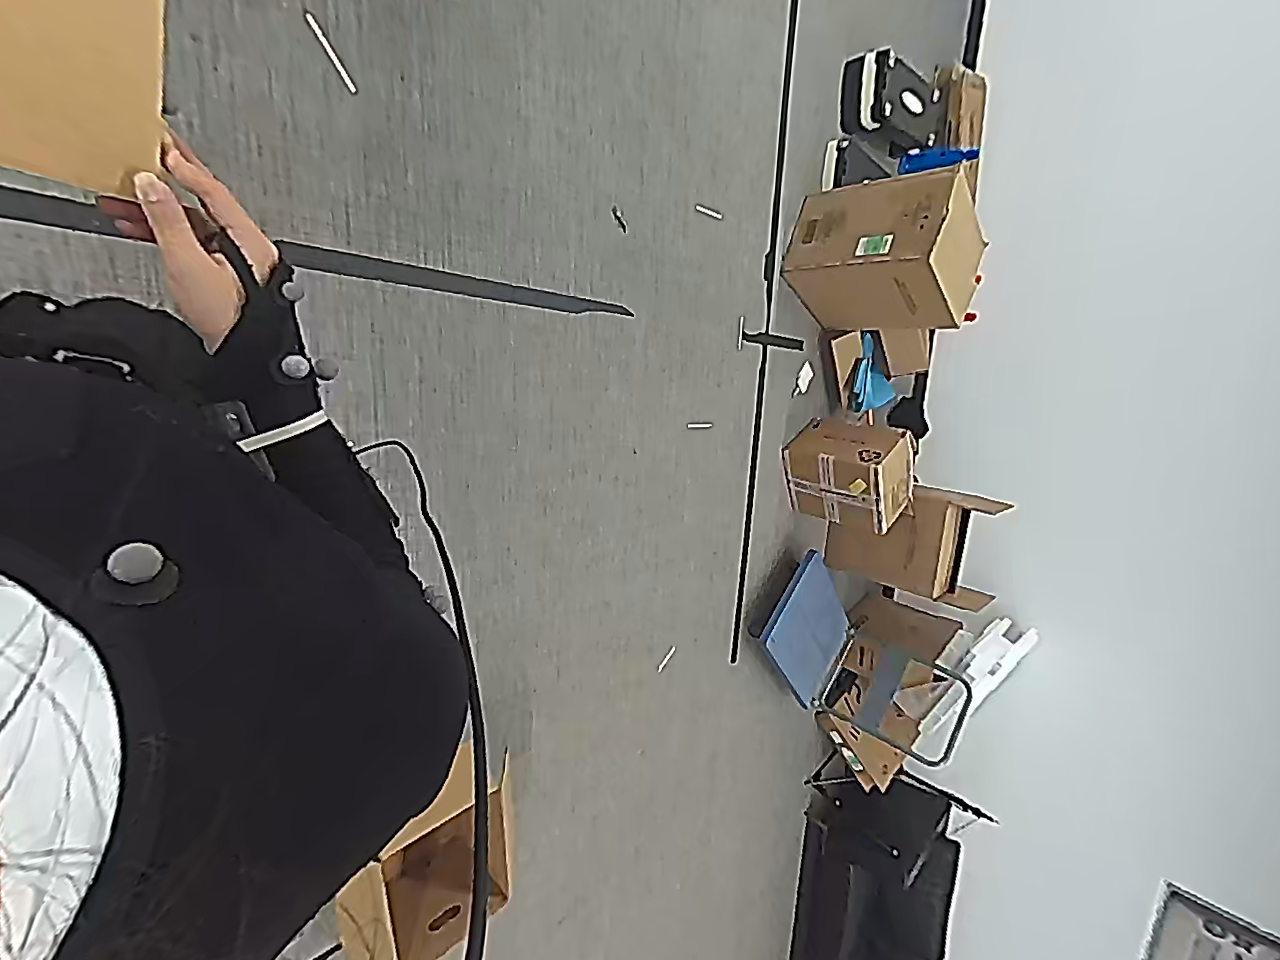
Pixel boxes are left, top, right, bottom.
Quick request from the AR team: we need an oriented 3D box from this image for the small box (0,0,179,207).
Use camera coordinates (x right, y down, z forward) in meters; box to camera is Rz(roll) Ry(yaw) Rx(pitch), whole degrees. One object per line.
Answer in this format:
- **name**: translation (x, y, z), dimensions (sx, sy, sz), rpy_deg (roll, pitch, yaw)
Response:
- **small box**: translation (-0.372, -0.272, 0.287), dimensions (0.179, 0.176, 0.168), rpy_deg (-1, 118, -46)
